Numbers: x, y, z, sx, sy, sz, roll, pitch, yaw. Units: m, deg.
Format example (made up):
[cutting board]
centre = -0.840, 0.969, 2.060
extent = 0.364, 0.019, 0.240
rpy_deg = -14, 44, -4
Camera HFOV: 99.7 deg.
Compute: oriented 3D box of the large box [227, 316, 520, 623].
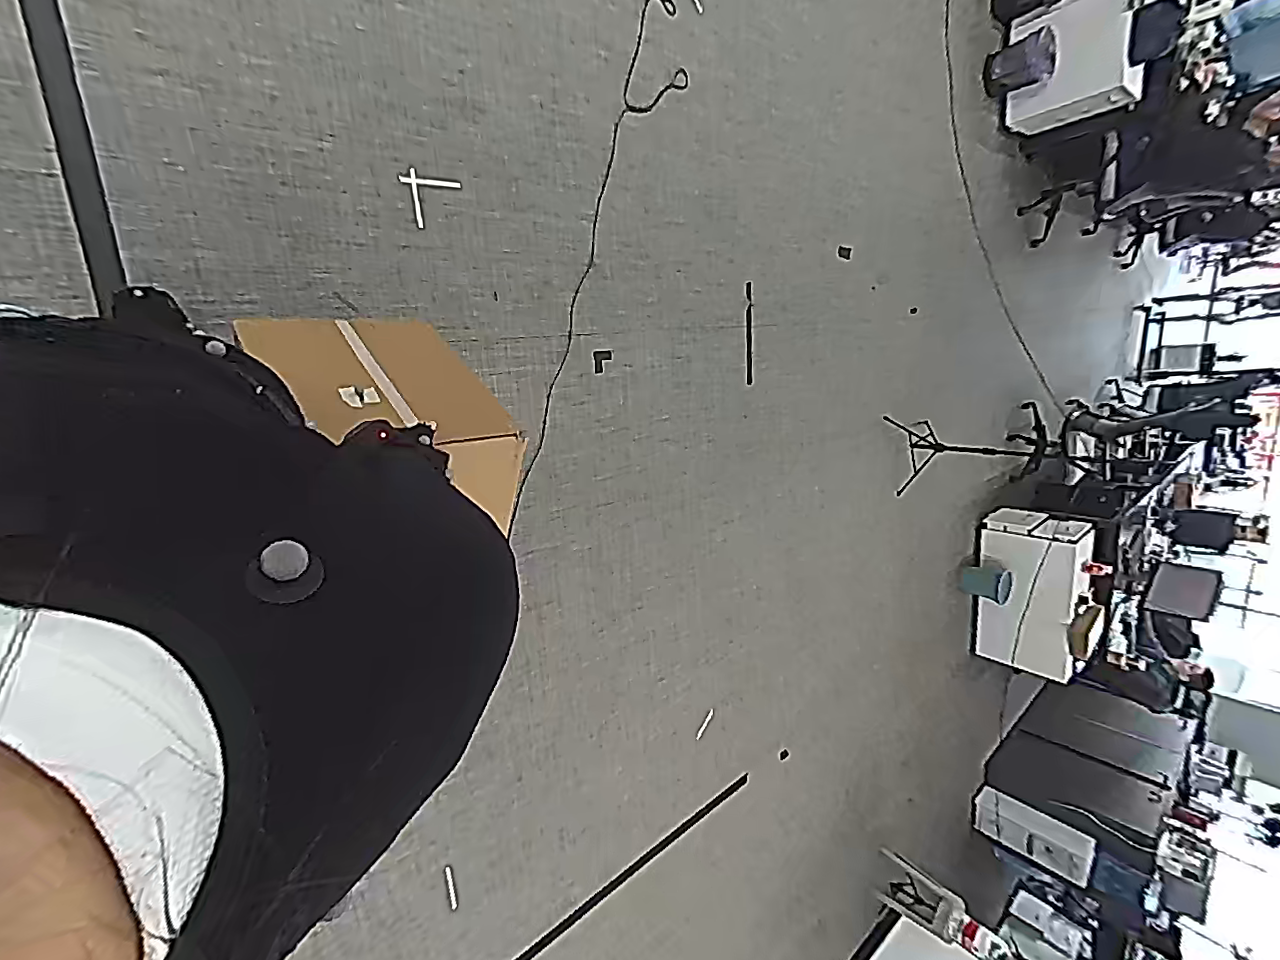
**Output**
[large box]
centre = -0.456, -0.043, 0.916
extent = 0.320, 0.408, 0.320
rpy_deg = -14, 137, -38
